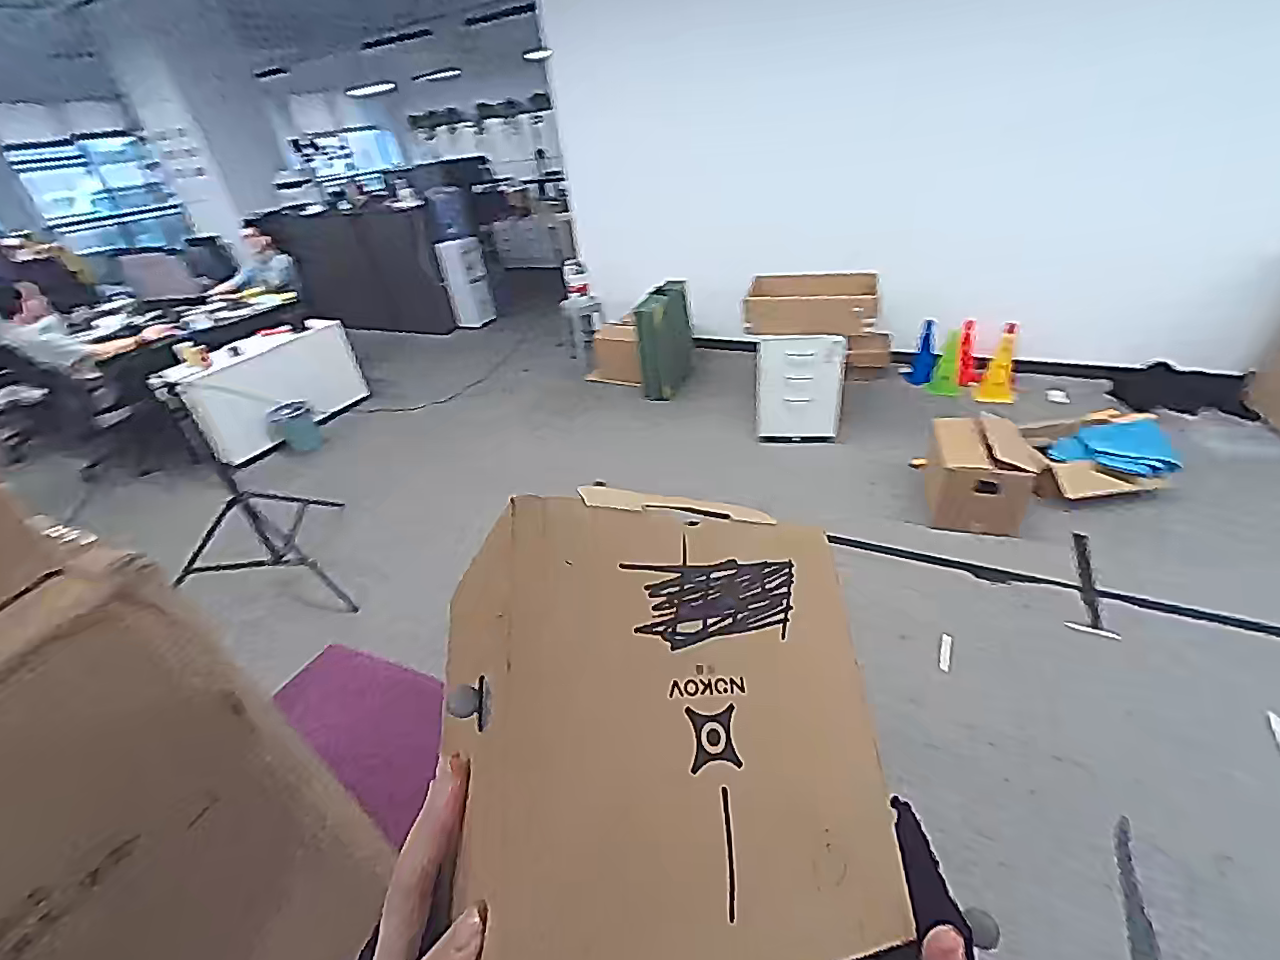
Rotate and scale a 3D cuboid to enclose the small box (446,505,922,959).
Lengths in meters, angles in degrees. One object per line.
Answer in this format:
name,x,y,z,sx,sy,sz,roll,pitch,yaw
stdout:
small box,-0.001,0.131,0.282,0.168,0.176,0.179,7,62,-24
